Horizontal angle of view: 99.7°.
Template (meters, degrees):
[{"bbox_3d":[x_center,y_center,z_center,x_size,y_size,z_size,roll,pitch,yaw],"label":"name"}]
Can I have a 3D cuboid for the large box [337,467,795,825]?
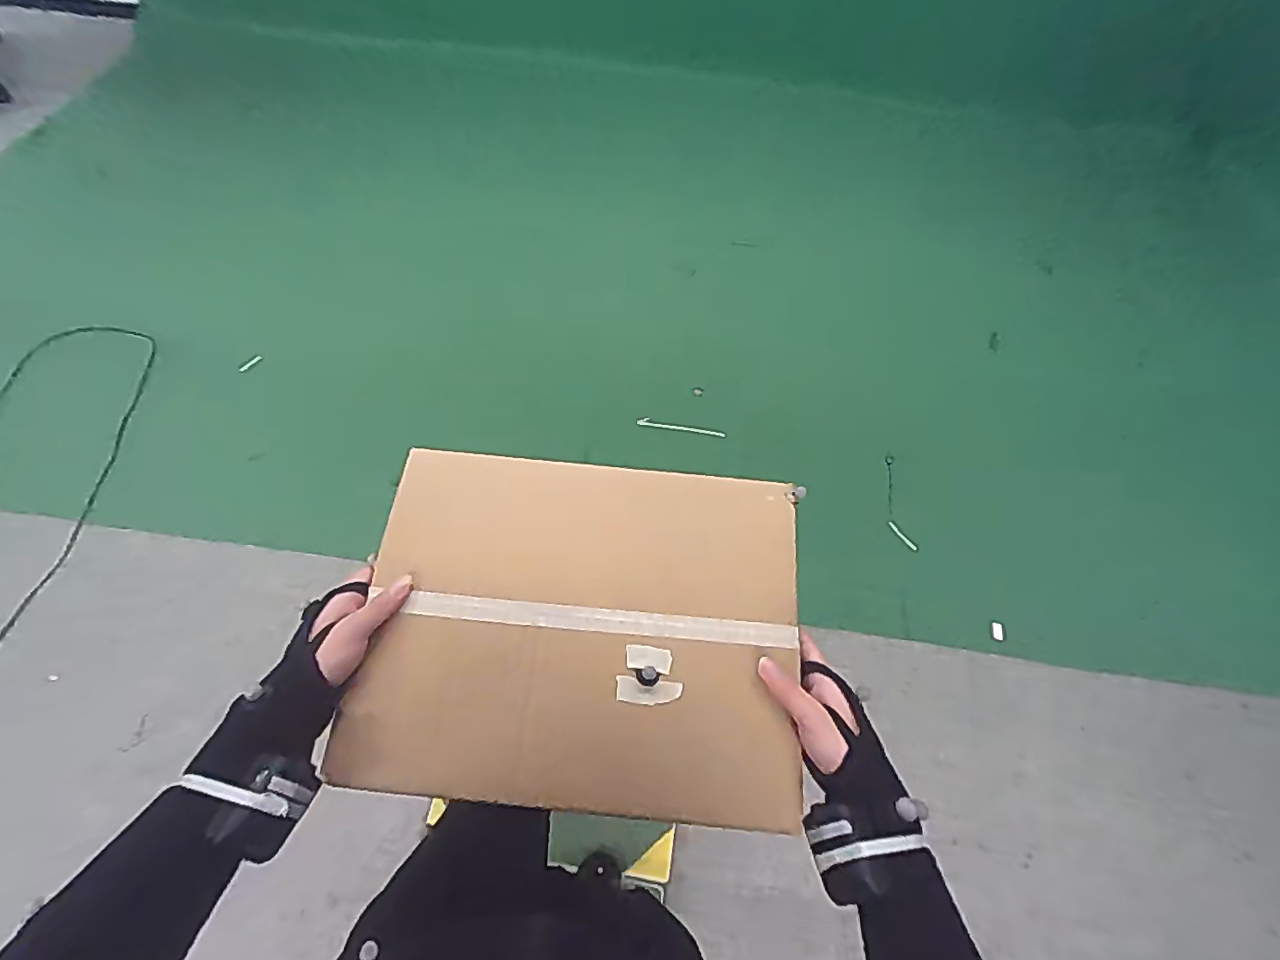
[{"bbox_3d":[-0.060,0.200,0.657,0.408,0.320,0.320,5,67,0],"label":"large box"}]
